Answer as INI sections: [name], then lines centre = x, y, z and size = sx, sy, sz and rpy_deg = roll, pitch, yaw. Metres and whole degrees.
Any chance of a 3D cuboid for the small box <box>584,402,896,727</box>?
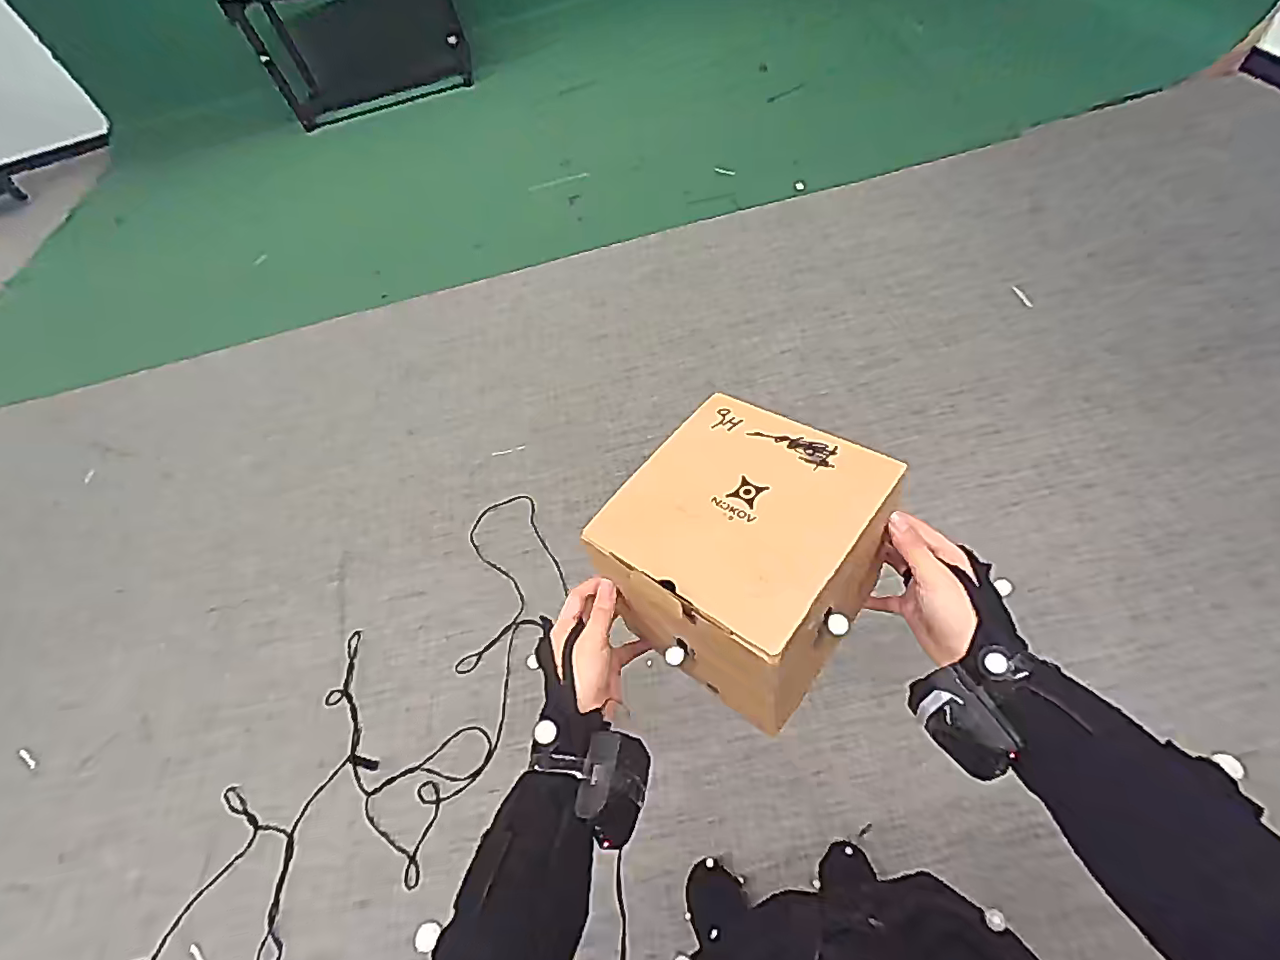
[small box]
centre = 0.087, 0.071, 0.454
size = 0.168, 0.176, 0.179
rpy_deg = 29, 63, 32
